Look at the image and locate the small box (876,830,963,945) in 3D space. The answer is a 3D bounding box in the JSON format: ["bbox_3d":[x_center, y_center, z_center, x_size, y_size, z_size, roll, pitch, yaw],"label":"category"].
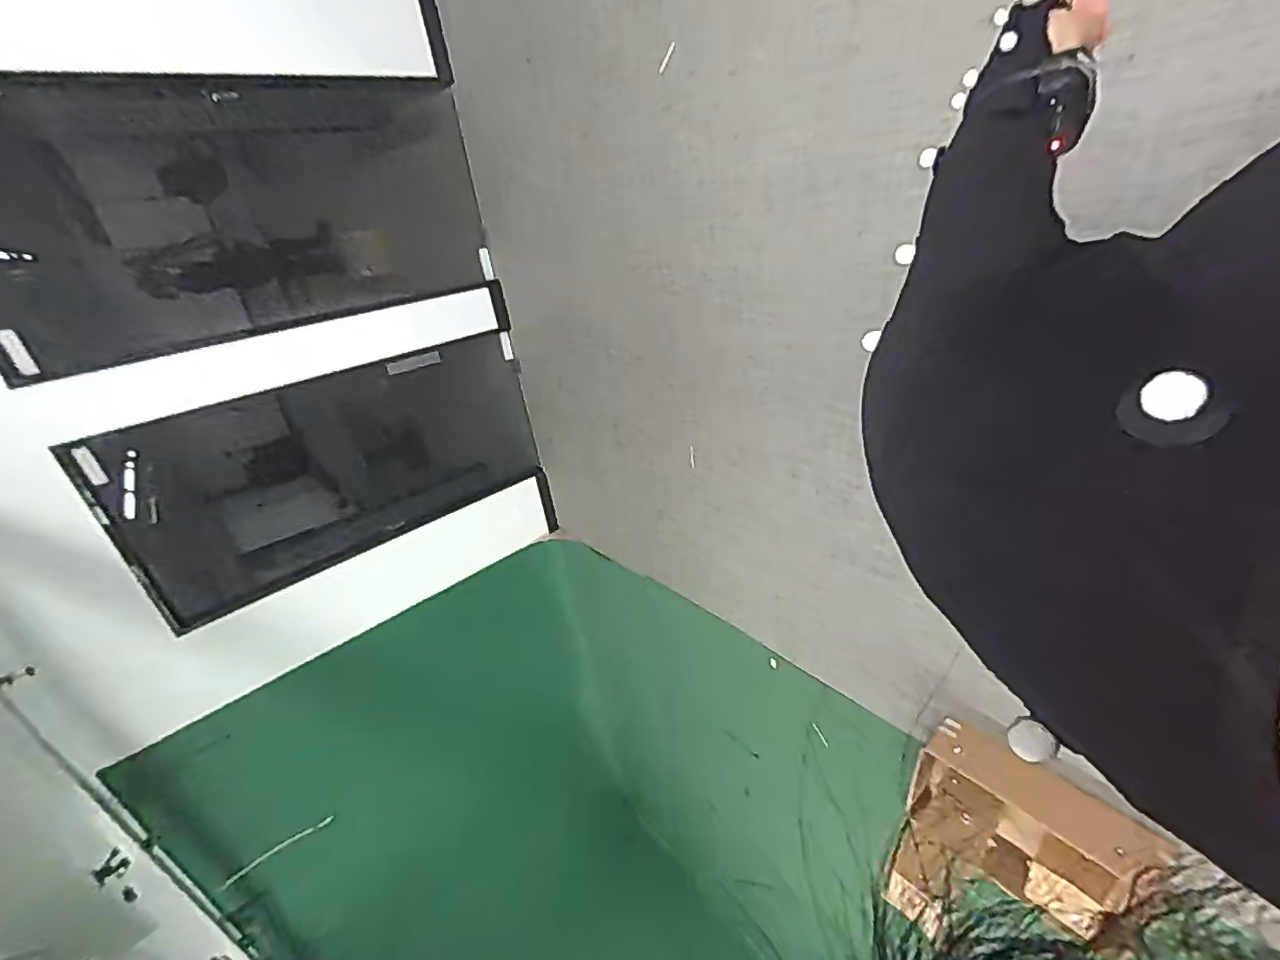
[{"bbox_3d":[0.819,1.188,1.586,0.168,0.176,0.179,23,130,44],"label":"small box"}]

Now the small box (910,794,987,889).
[{"bbox_3d":[0.943,1.130,1.677,0.168,0.176,0.179,26,130,42],"label":"small box"}]

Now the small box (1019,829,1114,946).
[{"bbox_3d":[1.250,1.186,1.585,0.168,0.176,0.179,22,127,48],"label":"small box"}]
